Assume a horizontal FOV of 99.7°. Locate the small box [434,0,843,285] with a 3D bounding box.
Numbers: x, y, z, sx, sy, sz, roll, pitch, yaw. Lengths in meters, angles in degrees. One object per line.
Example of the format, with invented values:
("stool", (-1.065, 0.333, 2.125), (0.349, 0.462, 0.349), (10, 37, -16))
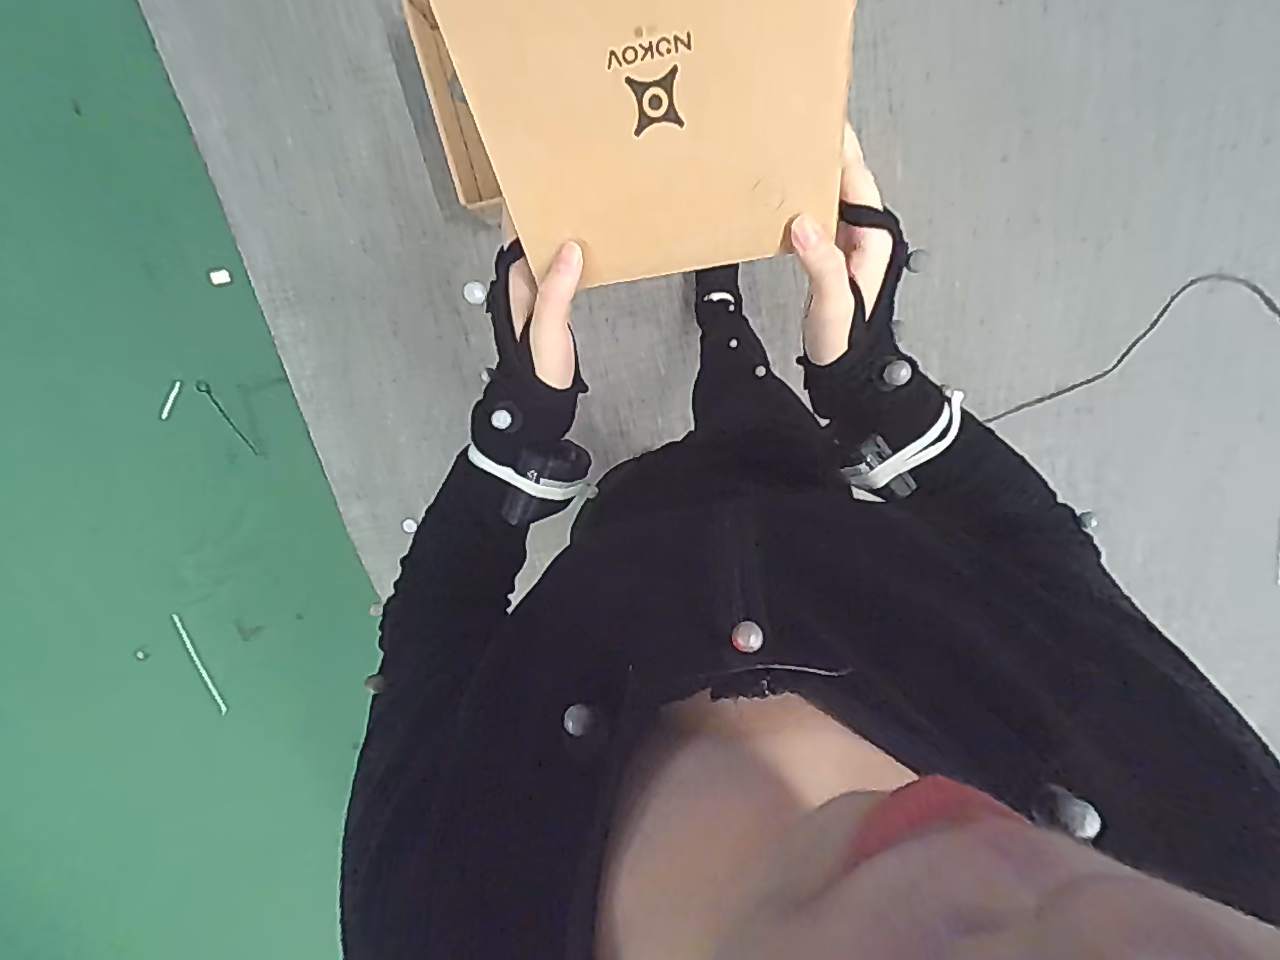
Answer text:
("small box", (0.007, -0.237, 0.291), (0.168, 0.176, 0.179), (-6, 139, 9))
